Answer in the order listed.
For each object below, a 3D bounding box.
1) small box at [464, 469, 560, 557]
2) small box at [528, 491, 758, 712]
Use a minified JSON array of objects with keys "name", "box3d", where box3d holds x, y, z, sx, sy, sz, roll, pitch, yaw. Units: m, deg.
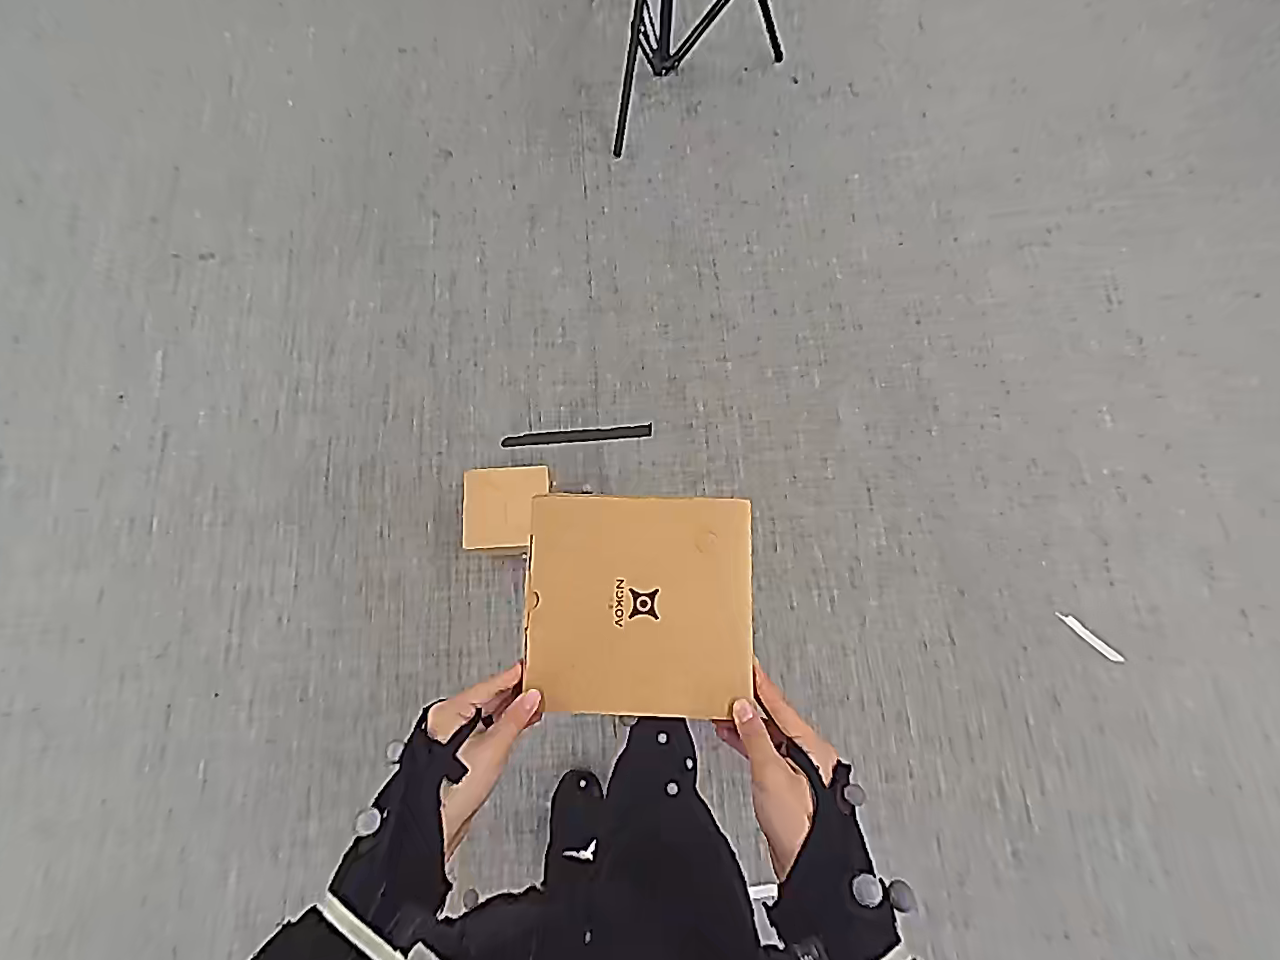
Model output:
[{"name":"small box","box3d":[-0.271,0.076,1.178,0.179,0.176,0.168,-3,77,-2]},{"name":"small box","box3d":[0.008,0.103,0.496,0.179,0.176,0.168,0,80,4]}]
